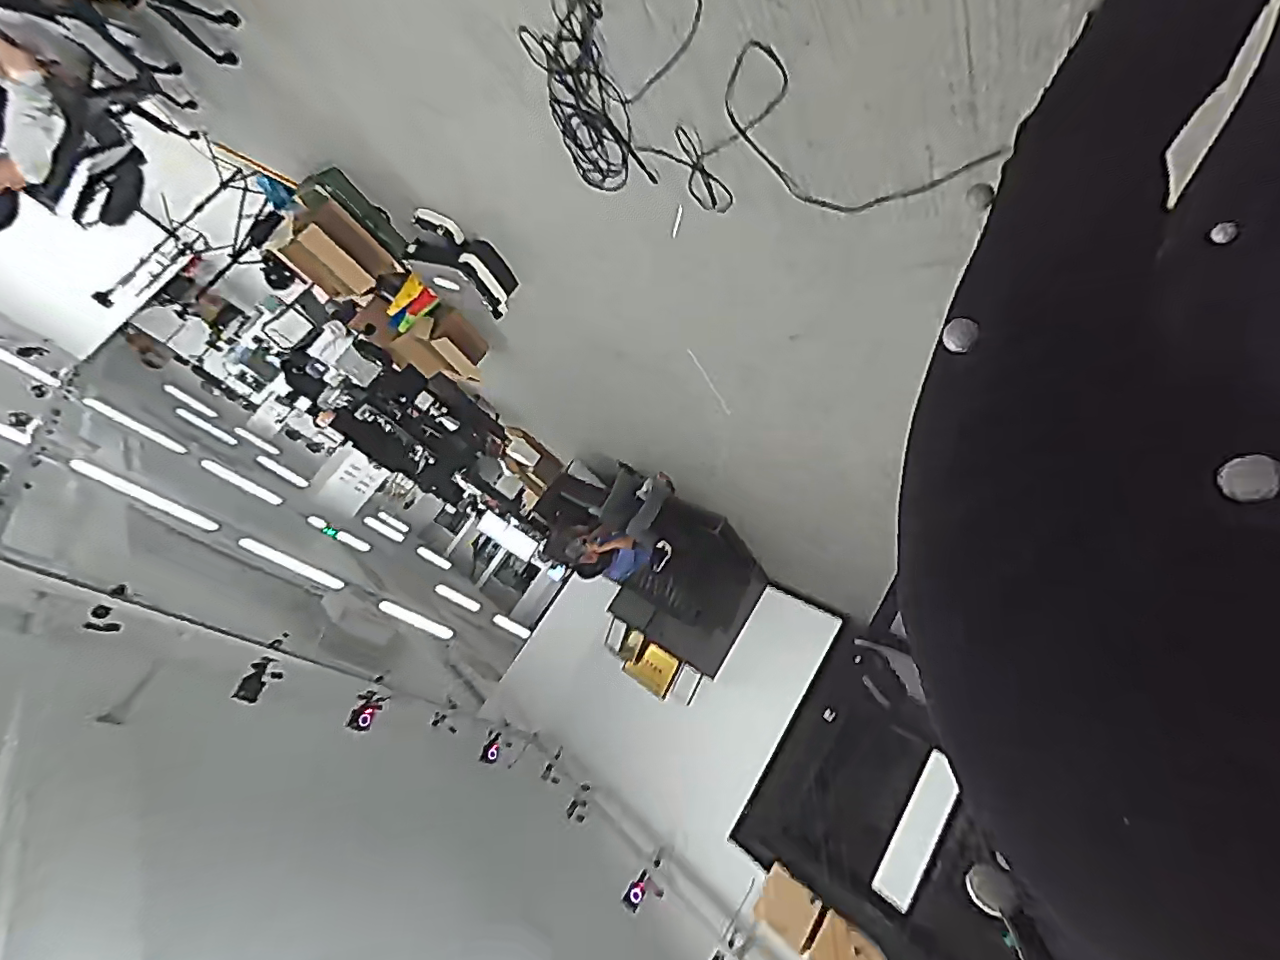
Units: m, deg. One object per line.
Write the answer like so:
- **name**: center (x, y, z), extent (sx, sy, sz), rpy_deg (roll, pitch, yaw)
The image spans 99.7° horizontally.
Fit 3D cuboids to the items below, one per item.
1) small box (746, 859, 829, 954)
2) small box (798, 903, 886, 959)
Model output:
- **small box**: center (0.459, 1.309, 1.673), extent (0.168, 0.176, 0.179), rpy_deg (22, 162, 41)
- **small box**: center (0.585, 1.356, 1.550), extent (0.168, 0.176, 0.179), rpy_deg (23, 161, 40)
